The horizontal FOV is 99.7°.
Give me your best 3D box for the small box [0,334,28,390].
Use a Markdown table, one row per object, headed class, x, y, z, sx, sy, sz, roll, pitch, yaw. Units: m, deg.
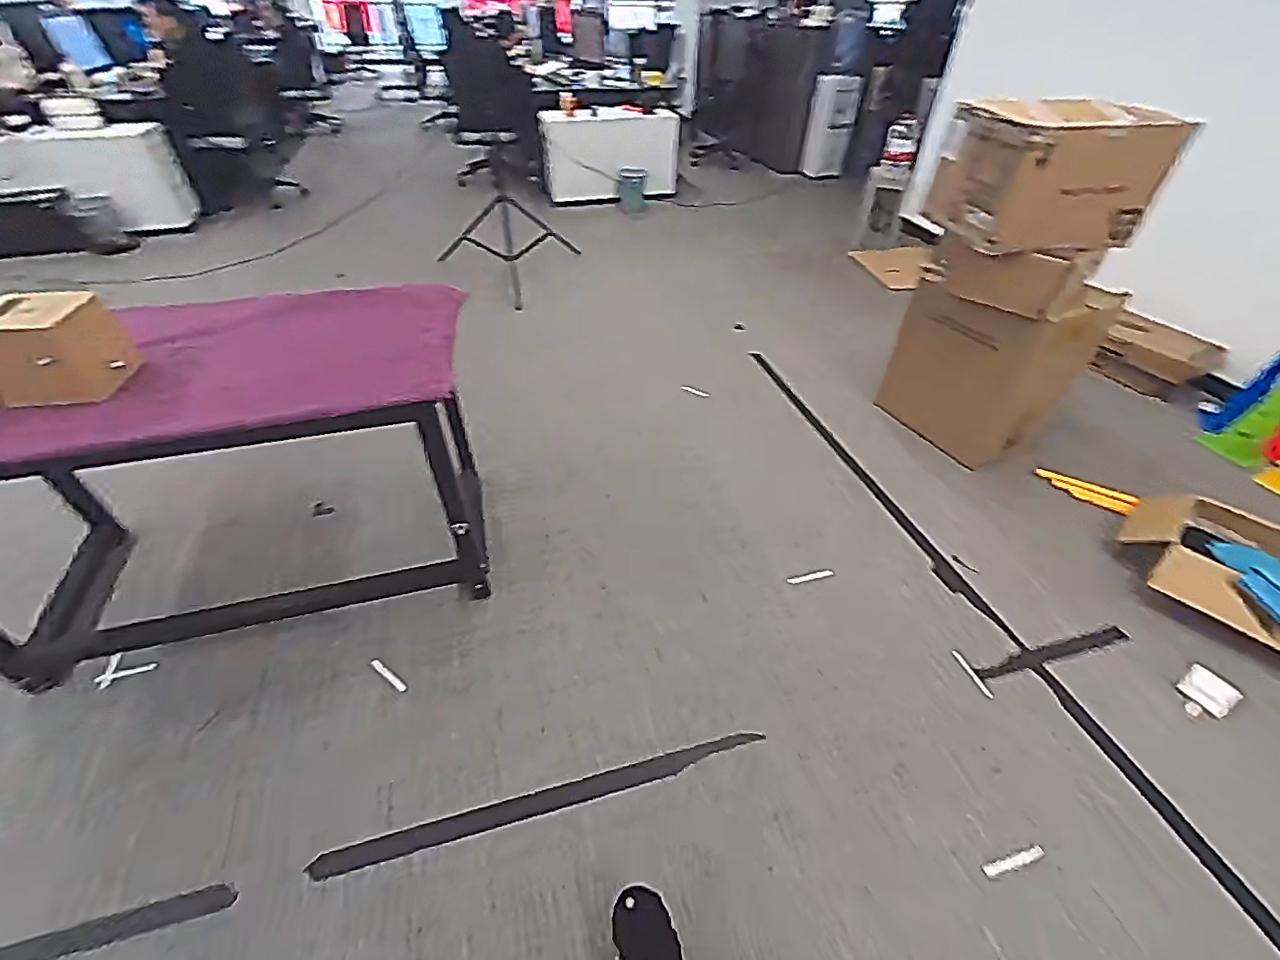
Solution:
| class | x | y | z | sx | sy | sz | roll | pitch | yaw |
| --- | --- | --- | --- | --- | --- | --- | --- | --- | --- |
| small box | -1.424 | -0.247 | 1.088 | 0.168 | 0.176 | 0.179 | -6 | 43 | -9 |
